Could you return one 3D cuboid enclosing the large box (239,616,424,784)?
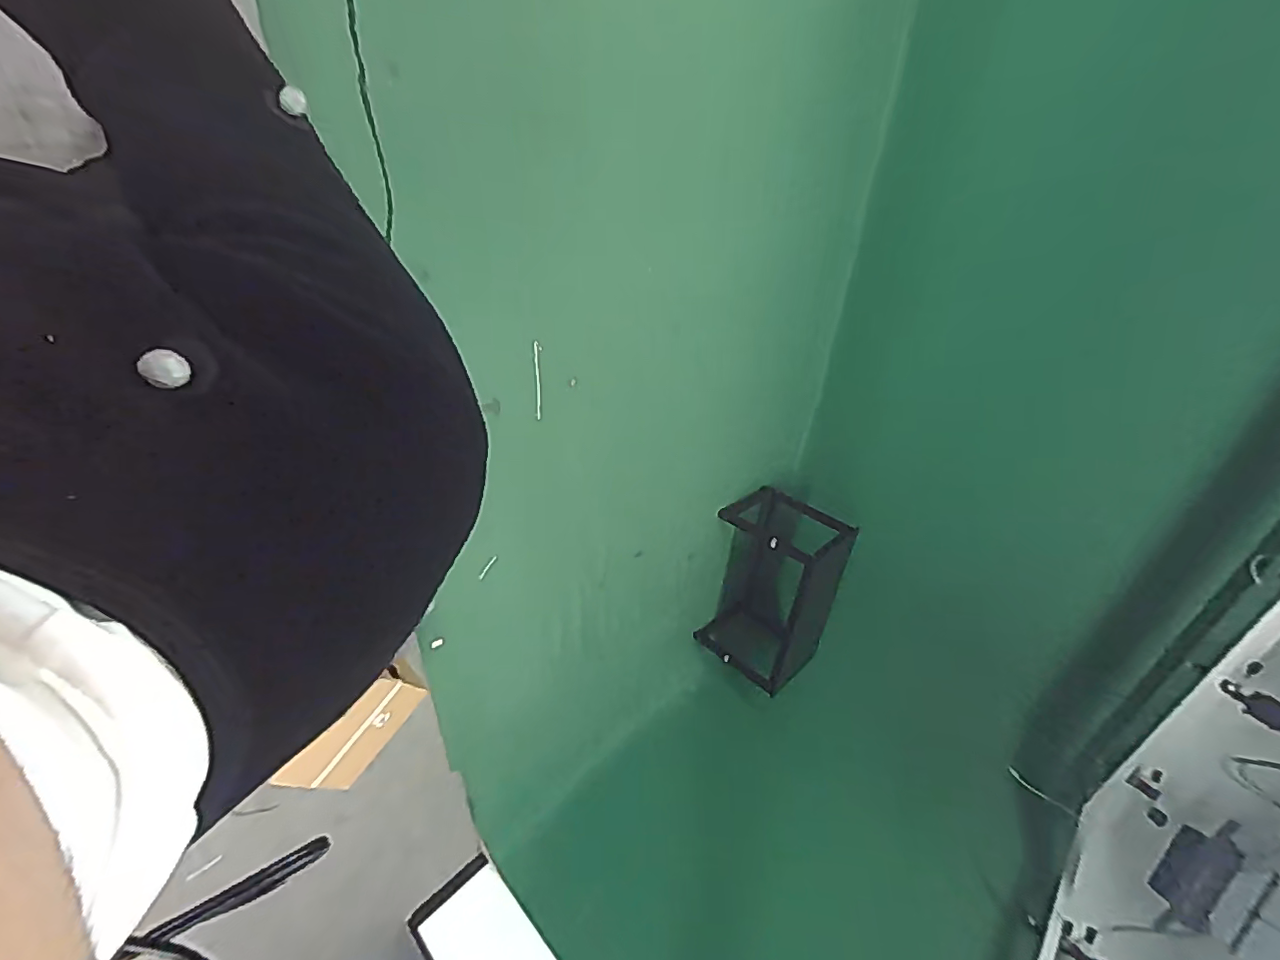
[{"bbox_3d":[-1.044,0.747,1.842,0.408,0.320,0.320,-52,145,-13],"label":"large box"}]
